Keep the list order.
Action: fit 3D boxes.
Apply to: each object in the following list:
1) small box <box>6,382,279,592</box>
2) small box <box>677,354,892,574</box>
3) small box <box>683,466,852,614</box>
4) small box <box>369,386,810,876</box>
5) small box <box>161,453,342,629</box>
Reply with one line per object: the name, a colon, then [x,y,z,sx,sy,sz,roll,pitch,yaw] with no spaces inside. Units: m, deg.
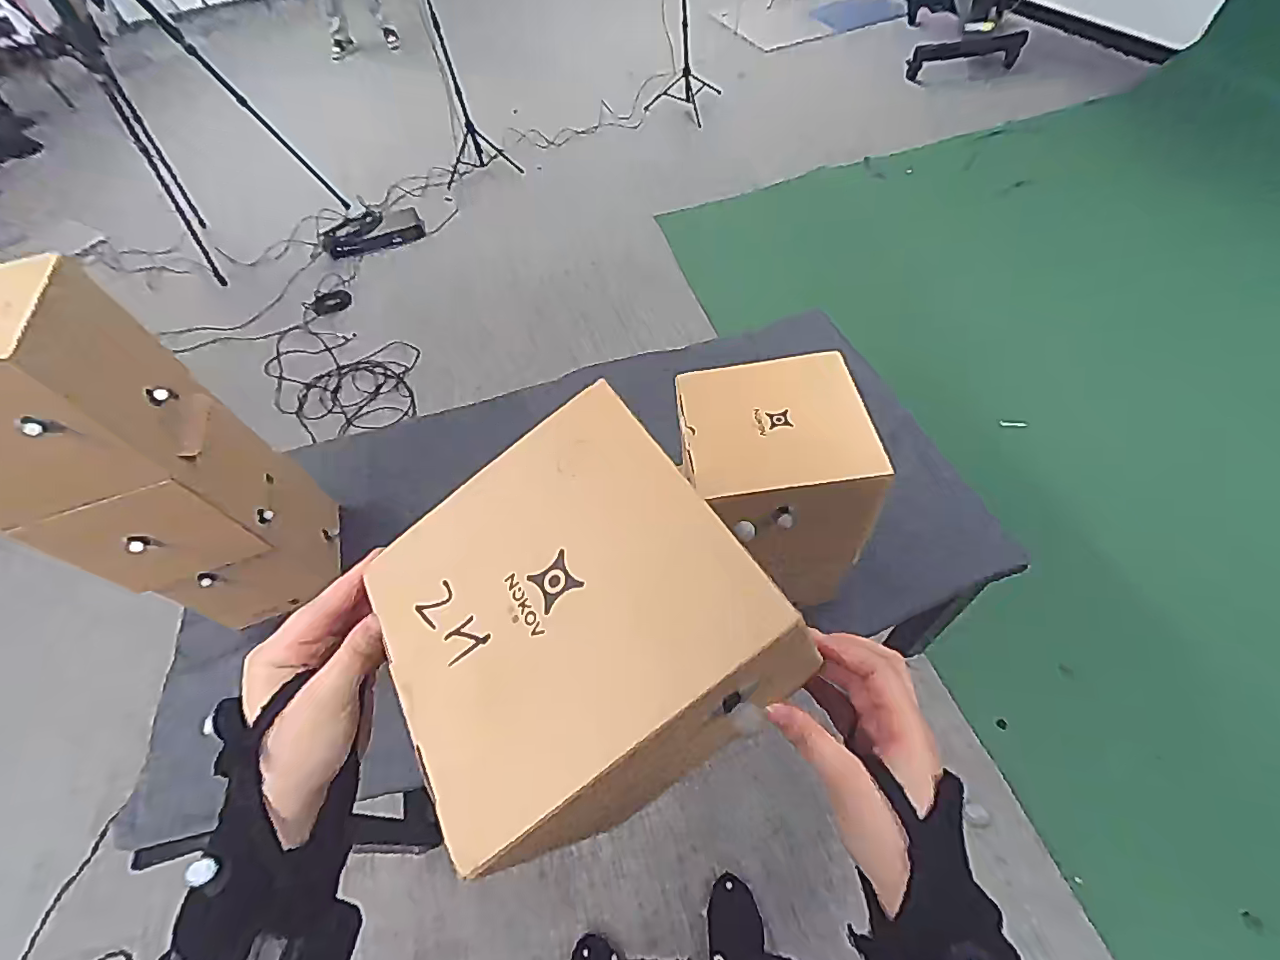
small box: [-0.586,0.013,0.671,0.179,0.176,0.168,-20,56,-6]
small box: [0.139,-0.007,0.584,0.179,0.176,0.168,-8,53,4]
small box: [0.155,0.076,0.723,0.168,0.176,0.179,-17,54,-3]
small box: [-0.016,0.085,0.324,0.179,0.176,0.168,-37,58,4]
small box: [-0.574,0.095,0.815,0.168,0.176,0.179,-20,55,-7]
